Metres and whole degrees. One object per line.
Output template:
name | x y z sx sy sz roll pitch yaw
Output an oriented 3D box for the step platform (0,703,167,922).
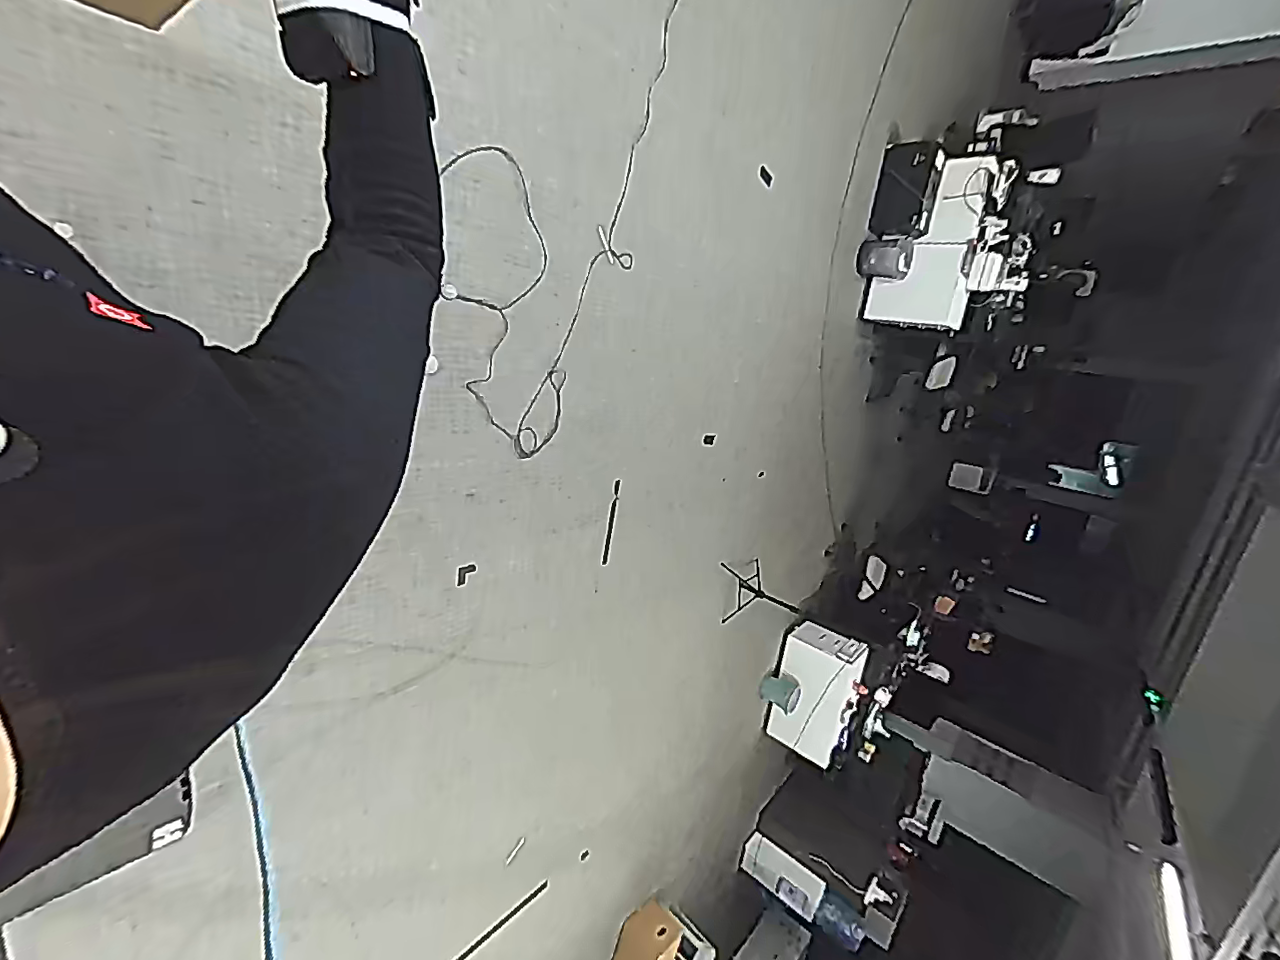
step platform | -1.321 0.707 0.992 0.684 0.204 0.286 -12 115 -48
